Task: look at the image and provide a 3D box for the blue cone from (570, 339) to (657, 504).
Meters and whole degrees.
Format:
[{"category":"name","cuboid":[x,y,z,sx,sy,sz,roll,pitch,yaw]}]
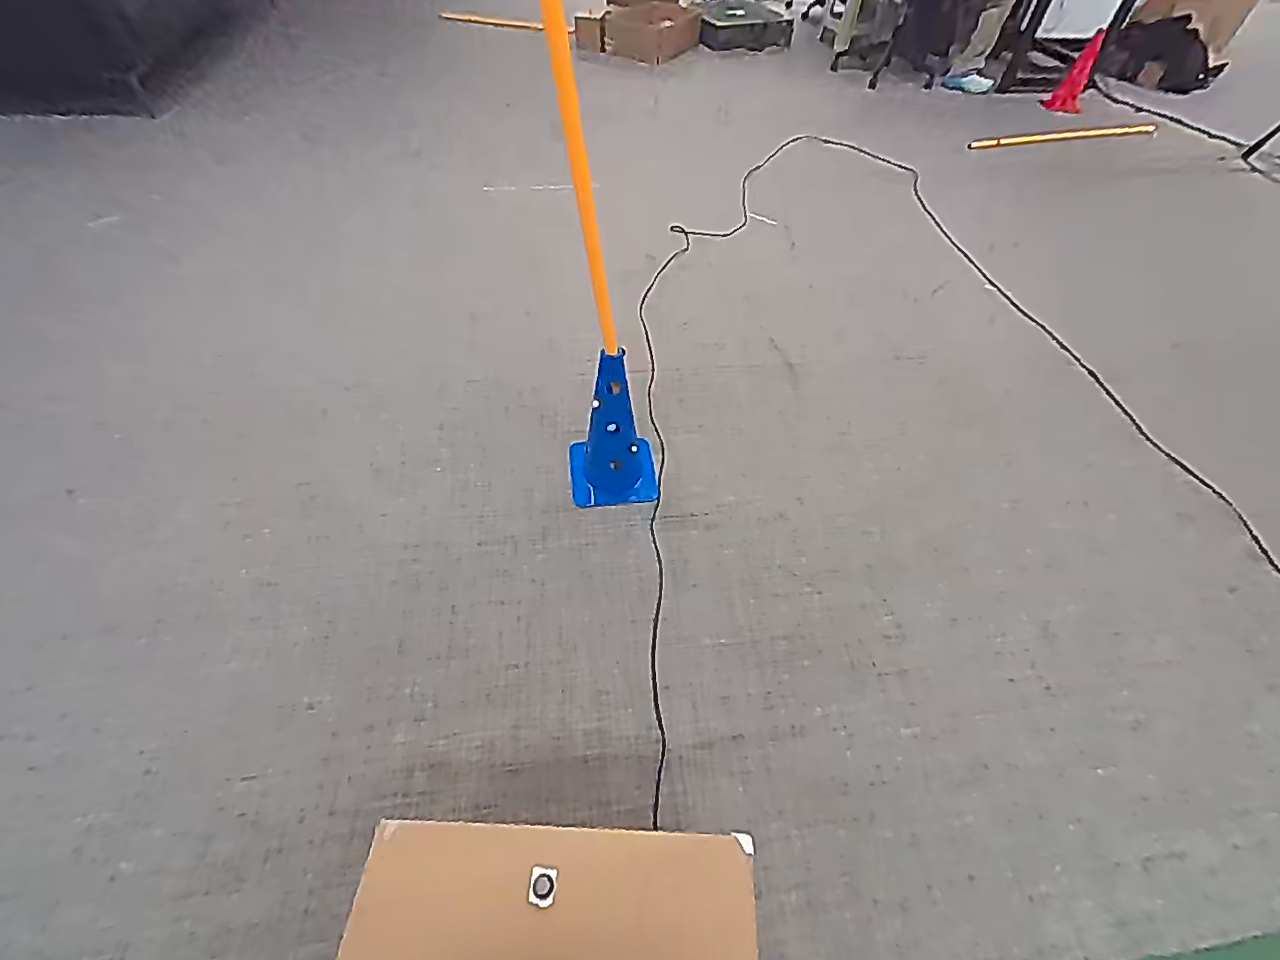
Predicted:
[{"category":"blue cone","cuboid":[-0.060,-0.128,1.151,0.193,0.380,0.192,-7,51,-7]}]
